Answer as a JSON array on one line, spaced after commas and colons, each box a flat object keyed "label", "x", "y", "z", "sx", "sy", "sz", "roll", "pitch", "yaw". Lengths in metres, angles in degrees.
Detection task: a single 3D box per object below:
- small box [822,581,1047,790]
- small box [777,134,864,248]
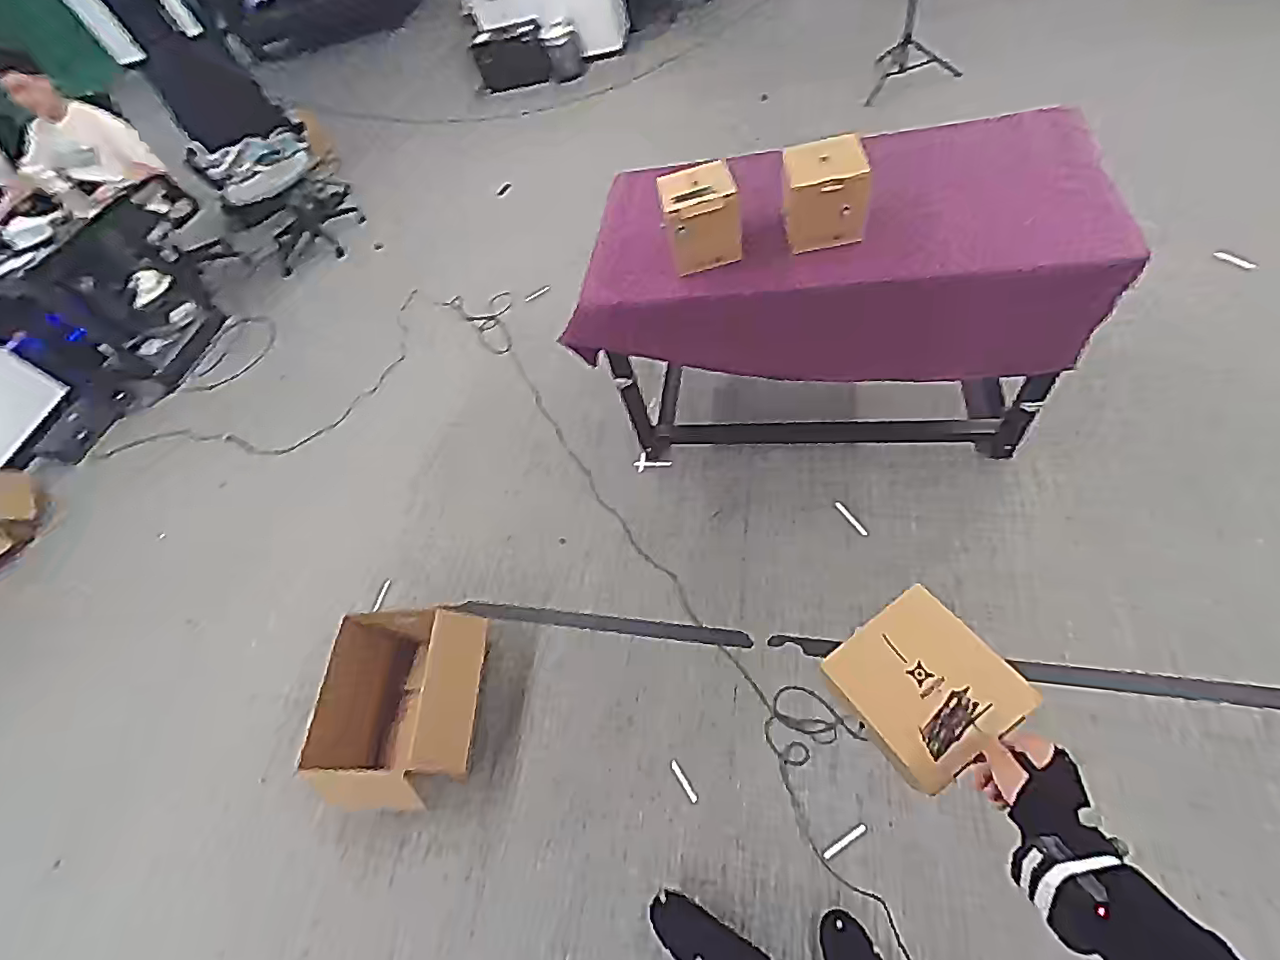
[{"label": "small box", "x": 0.359, "y": 0.264, "z": 0.696, "sx": 0.168, "sy": 0.176, "sz": 0.179, "roll": -37, "pitch": 57, "yaw": -2}, {"label": "small box", "x": 0.418, "y": -0.668, "z": 1.273, "sx": 0.168, "sy": 0.176, "sz": 0.179, "roll": -7, "pitch": 56, "yaw": 11}]
